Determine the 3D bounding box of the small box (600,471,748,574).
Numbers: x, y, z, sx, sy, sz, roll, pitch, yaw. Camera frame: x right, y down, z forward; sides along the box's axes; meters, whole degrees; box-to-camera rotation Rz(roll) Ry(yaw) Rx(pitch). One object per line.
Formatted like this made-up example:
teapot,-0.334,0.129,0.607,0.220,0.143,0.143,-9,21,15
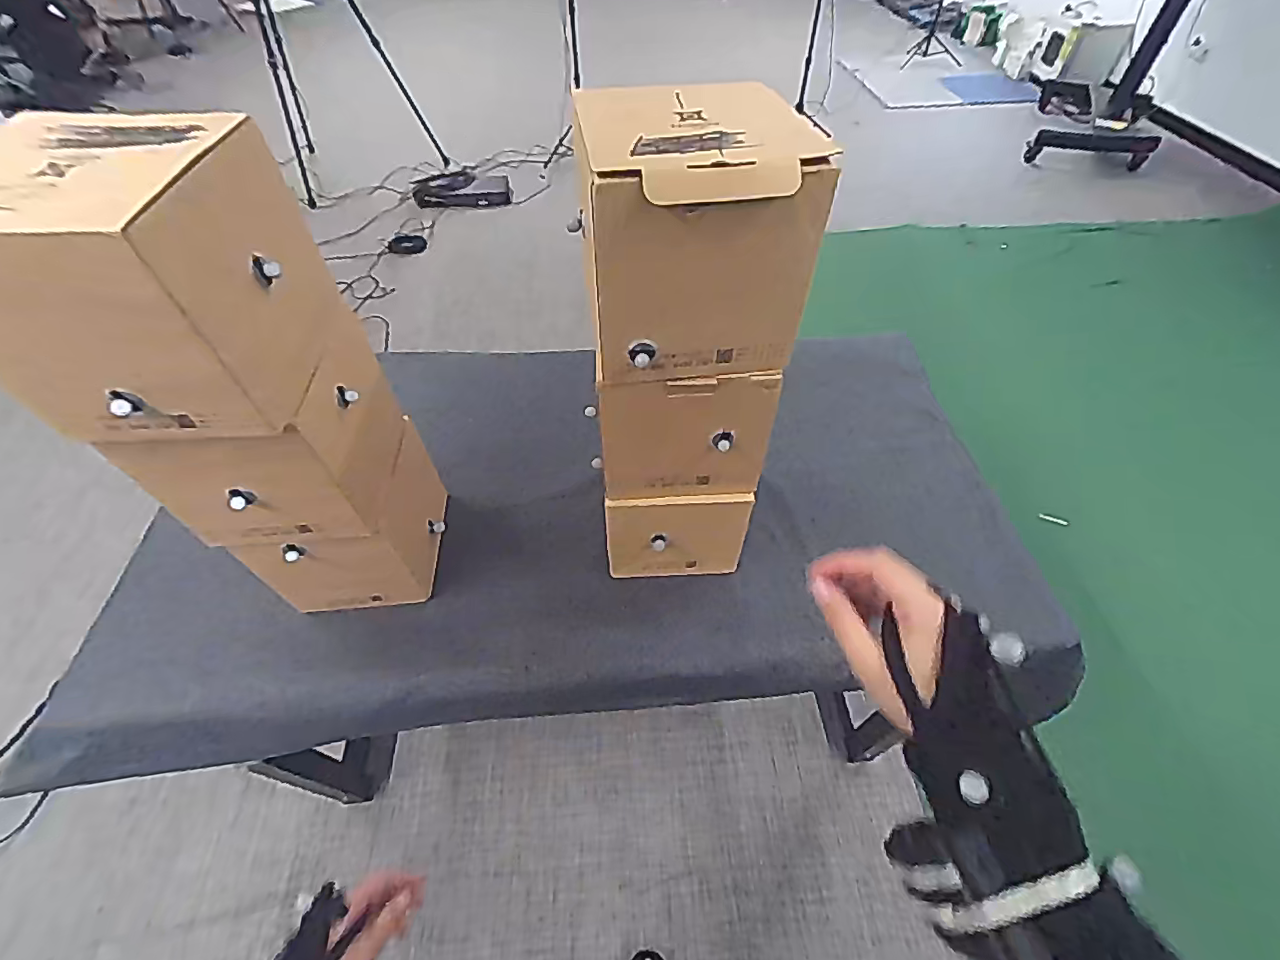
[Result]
small box,0.037,0.012,0.702,0.168,0.176,0.179,-2,51,-2

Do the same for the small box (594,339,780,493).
small box,0.038,-0.098,0.582,0.168,0.176,0.179,-2,50,-3

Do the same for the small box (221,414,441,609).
small box,-0.359,0.040,0.673,0.168,0.176,0.179,-4,51,-4

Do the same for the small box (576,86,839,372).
small box,0.039,-0.205,0.457,0.168,0.176,0.179,-6,50,-7

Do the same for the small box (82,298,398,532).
small box,-0.363,-0.058,0.540,0.168,0.176,0.179,-3,51,-4
